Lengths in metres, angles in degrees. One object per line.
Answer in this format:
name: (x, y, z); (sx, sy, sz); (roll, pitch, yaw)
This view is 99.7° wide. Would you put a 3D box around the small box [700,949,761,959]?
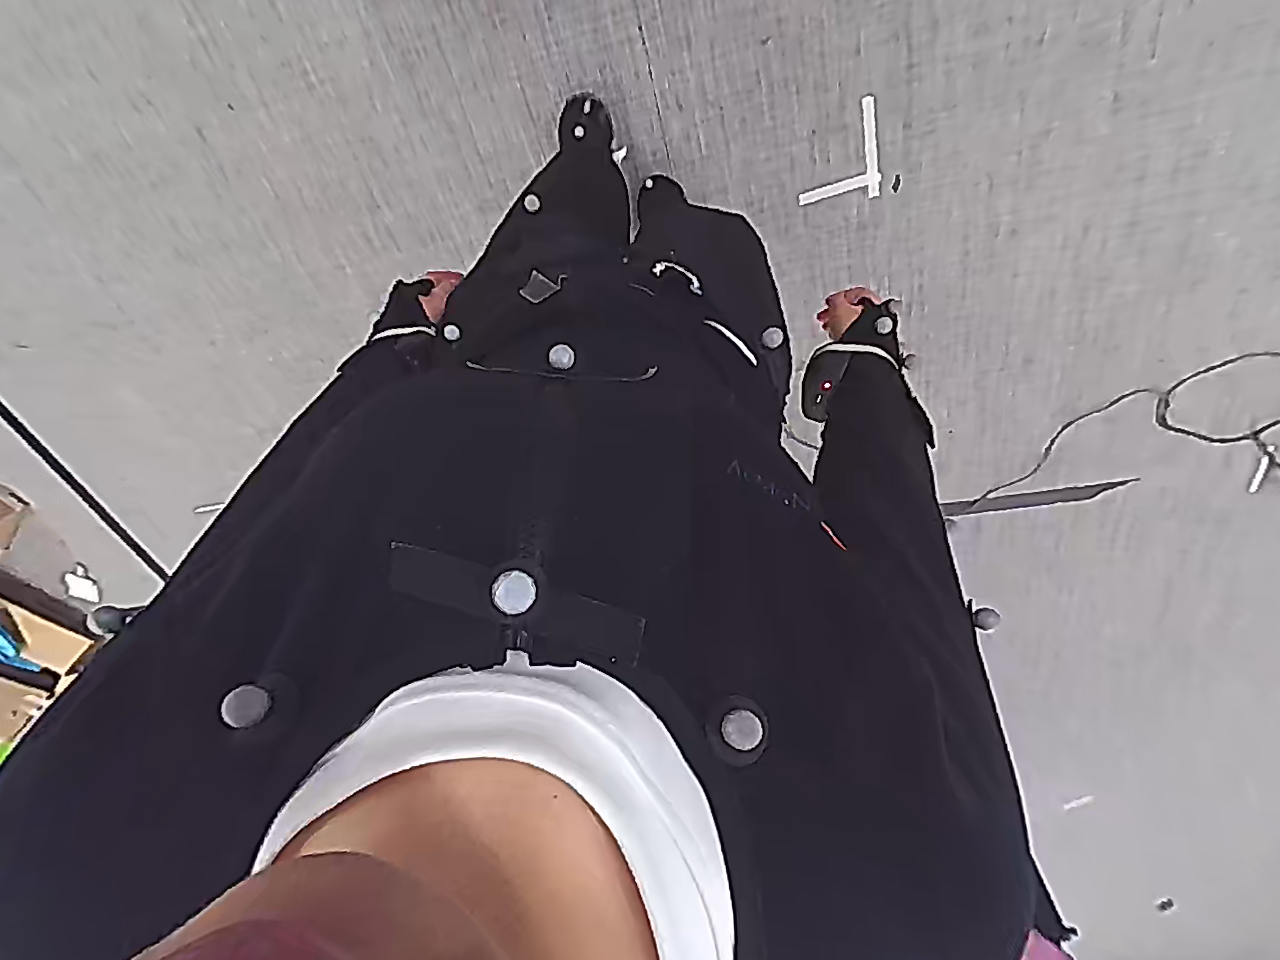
small box: (0.253, 1.390, 1.440); (0.168, 0.176, 0.179); (-8, 122, 10)
